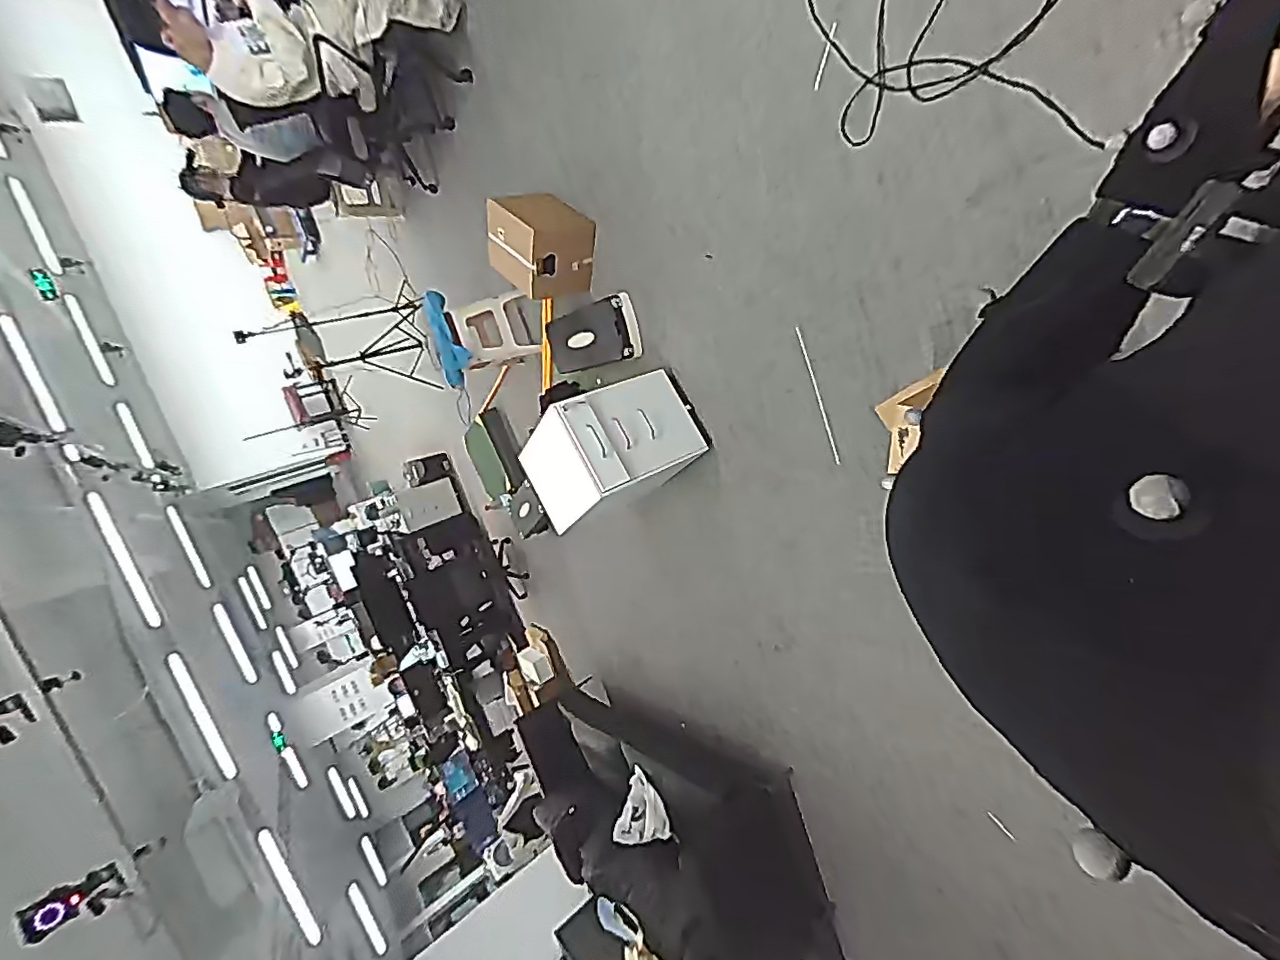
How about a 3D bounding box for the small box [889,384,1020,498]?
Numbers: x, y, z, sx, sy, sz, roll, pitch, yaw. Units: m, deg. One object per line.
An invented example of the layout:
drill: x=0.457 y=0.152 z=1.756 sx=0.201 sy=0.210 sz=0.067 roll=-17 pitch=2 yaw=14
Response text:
small box: x=0.639 y=-0.088 z=1.102 sx=0.179 sy=0.176 sz=0.168 roll=22 pitch=127 yaw=44
